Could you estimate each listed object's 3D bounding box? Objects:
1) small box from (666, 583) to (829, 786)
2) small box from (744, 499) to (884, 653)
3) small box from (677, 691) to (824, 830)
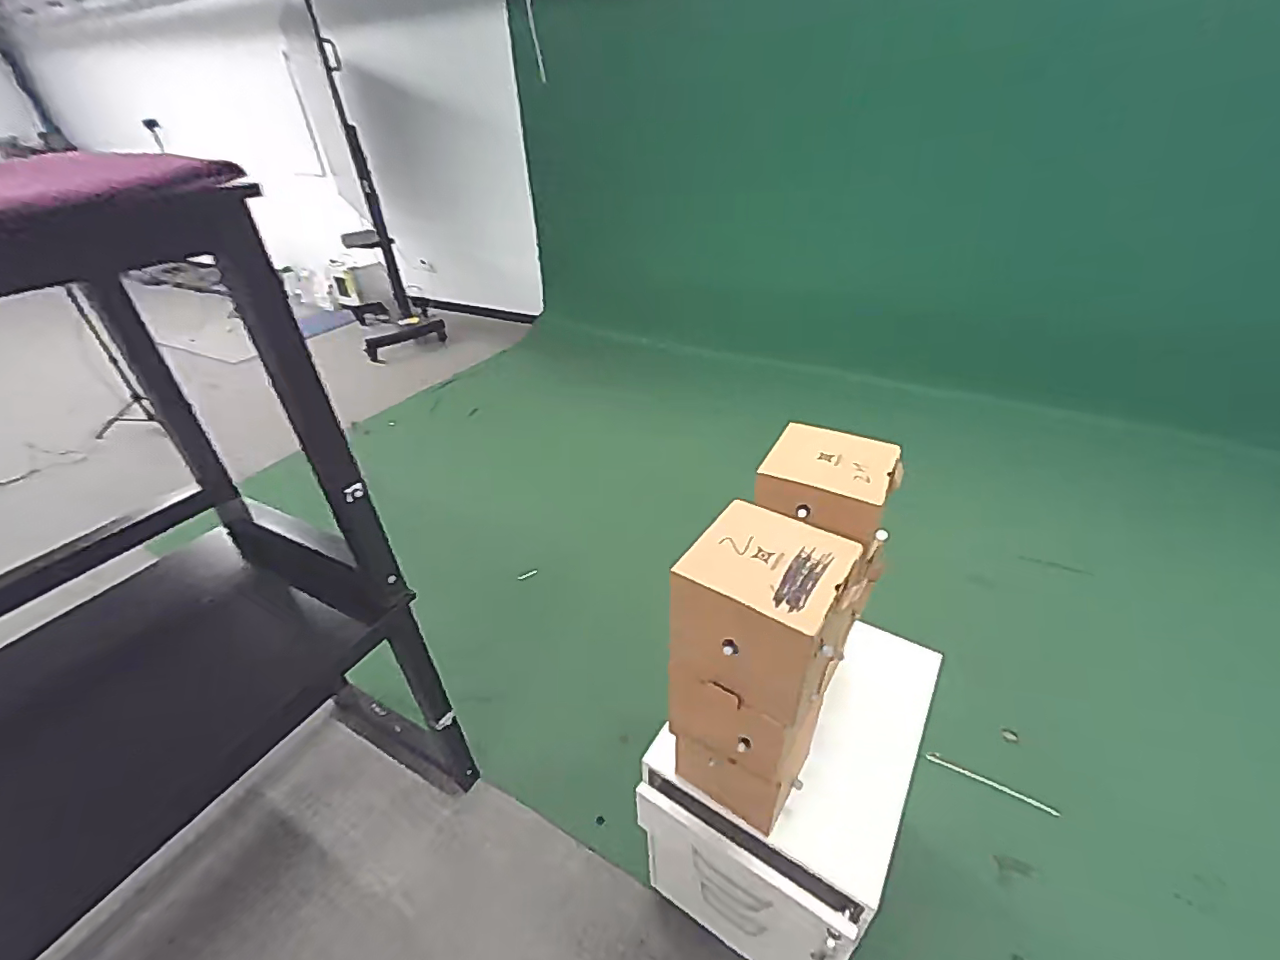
[{"bbox_3d":[0.151,0.287,0.770,0.168,0.176,0.179,20,40,27],"label":"small box"},{"bbox_3d":[0.292,0.165,0.938,0.179,0.176,0.168,22,42,30],"label":"small box"},{"bbox_3d":[0.171,0.414,0.871,0.179,0.176,0.168,22,41,30],"label":"small box"}]
